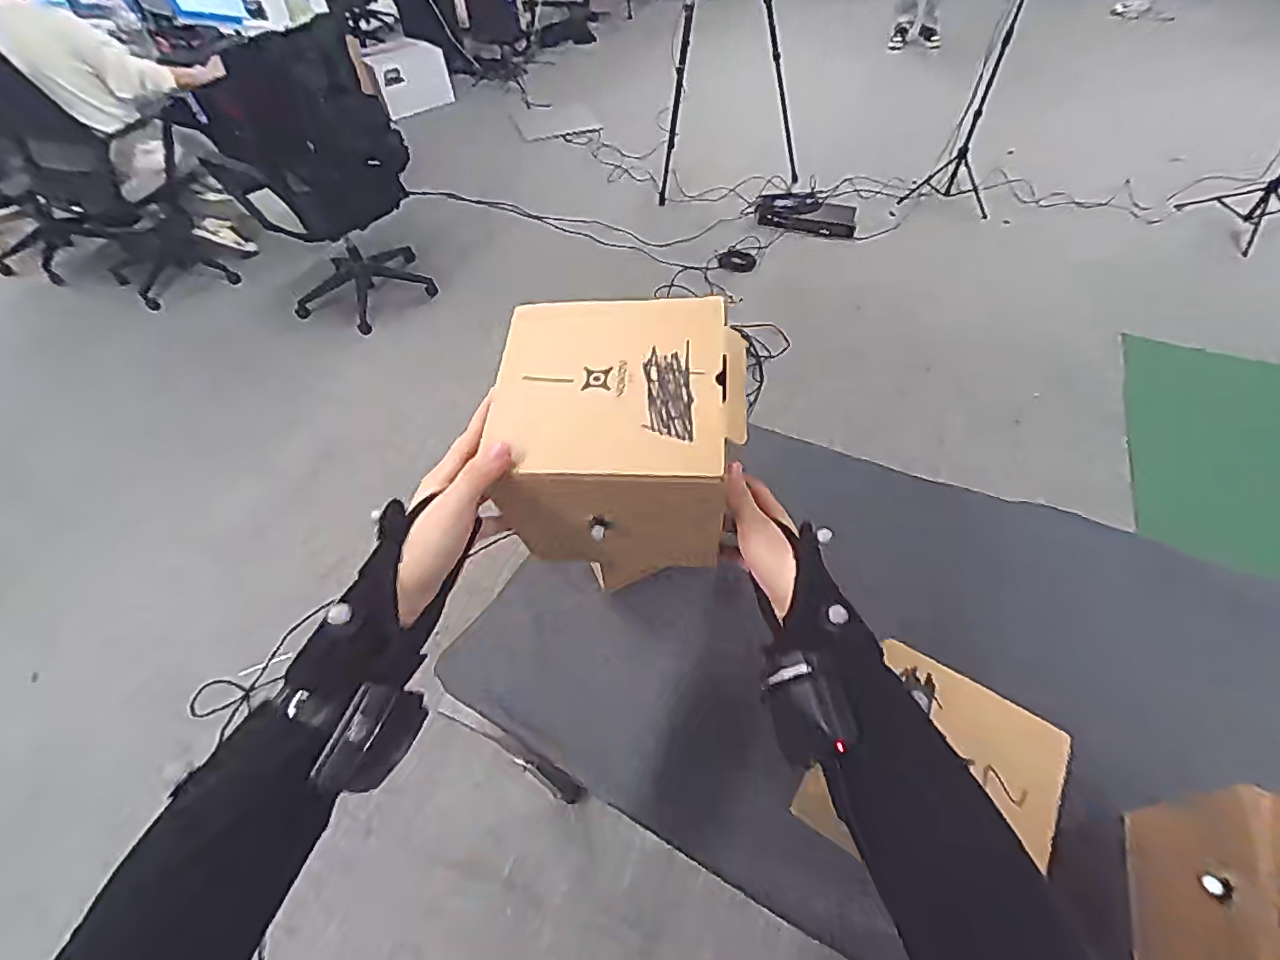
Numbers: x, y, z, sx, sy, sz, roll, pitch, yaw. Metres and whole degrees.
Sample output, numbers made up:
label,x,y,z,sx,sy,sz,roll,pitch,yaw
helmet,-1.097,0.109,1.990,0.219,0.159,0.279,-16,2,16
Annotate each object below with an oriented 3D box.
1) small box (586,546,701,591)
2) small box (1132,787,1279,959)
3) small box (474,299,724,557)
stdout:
label,x,y,z,sx,sy,sz,roll,pitch,yaw
small box,-0.017,0.030,0.791,0.168,0.176,0.179,-22,54,-13
small box,0.564,0.400,0.456,0.168,0.176,0.179,18,54,19
small box,-0.018,-0.038,0.481,0.179,0.176,0.168,1,61,8
